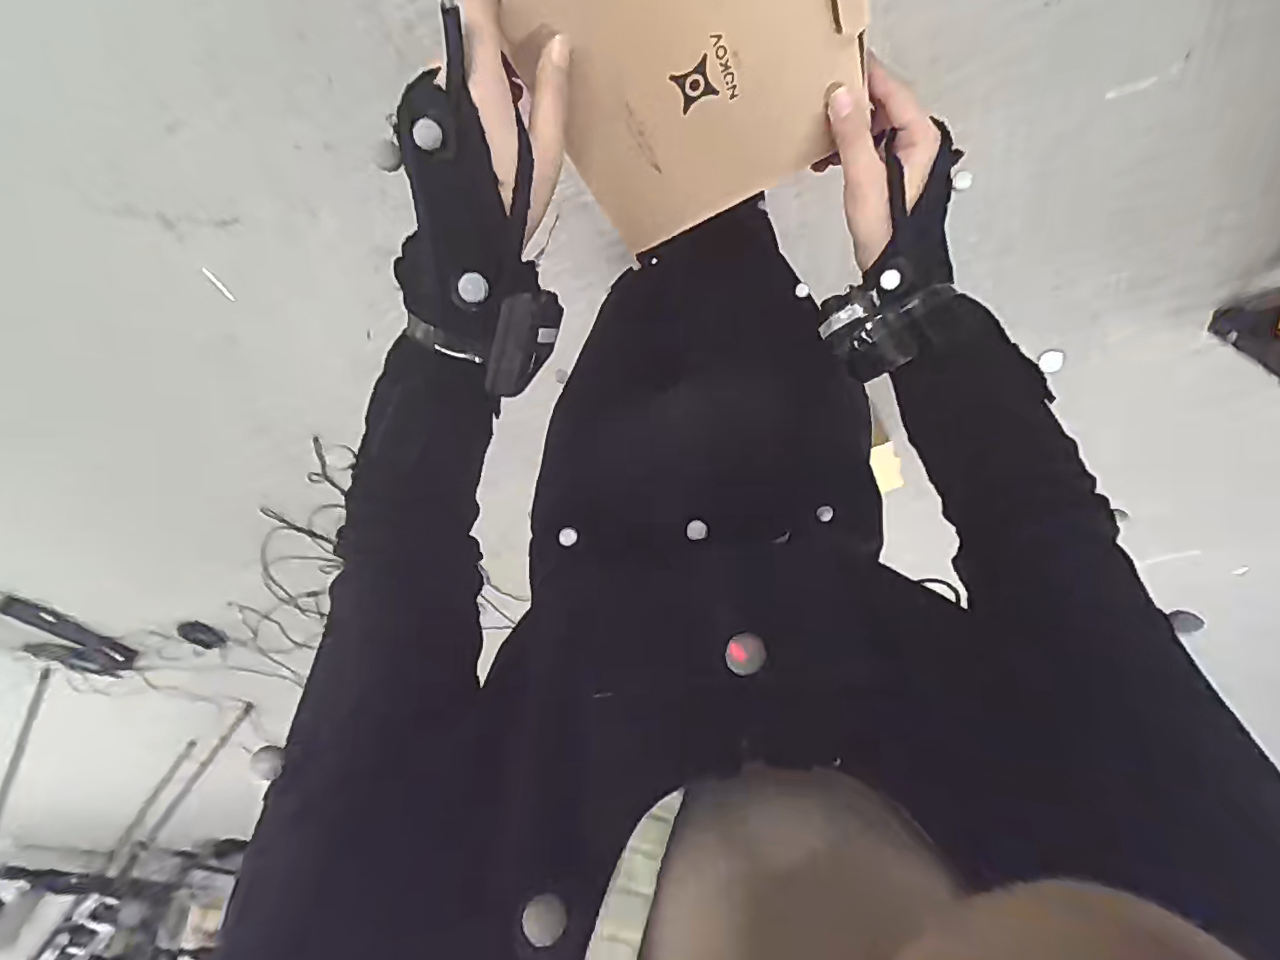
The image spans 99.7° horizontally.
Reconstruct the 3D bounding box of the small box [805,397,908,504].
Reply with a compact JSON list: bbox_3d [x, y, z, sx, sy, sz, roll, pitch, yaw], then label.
[{"bbox_3d":[0.530,-0.075,1.335,0.179,0.176,0.168,-22,131,20],"label":"small box"}]

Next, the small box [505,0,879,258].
[{"bbox_3d":[0.029,-0.293,0.347,0.179,0.176,0.168,-20,147,20],"label":"small box"}]
